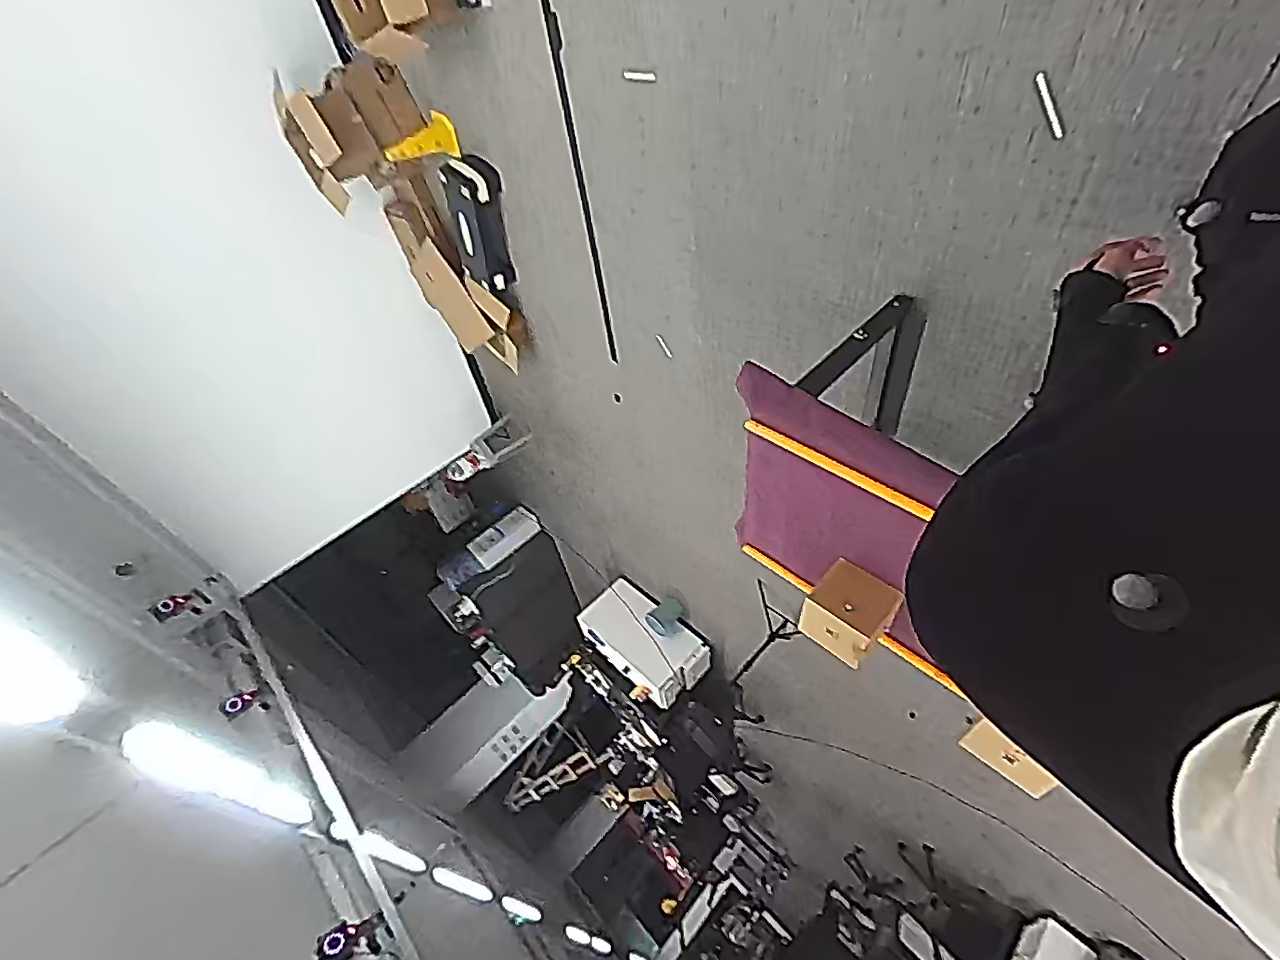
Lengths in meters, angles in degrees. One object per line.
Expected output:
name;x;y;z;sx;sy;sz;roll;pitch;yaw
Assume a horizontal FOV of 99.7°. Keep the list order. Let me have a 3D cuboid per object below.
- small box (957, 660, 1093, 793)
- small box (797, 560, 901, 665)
small box;0.835;0.533;1.177;0.168;0.176;0.179;34;148;32
small box;0.539;0.334;1.406;0.179;0.176;0.168;33;148;32
